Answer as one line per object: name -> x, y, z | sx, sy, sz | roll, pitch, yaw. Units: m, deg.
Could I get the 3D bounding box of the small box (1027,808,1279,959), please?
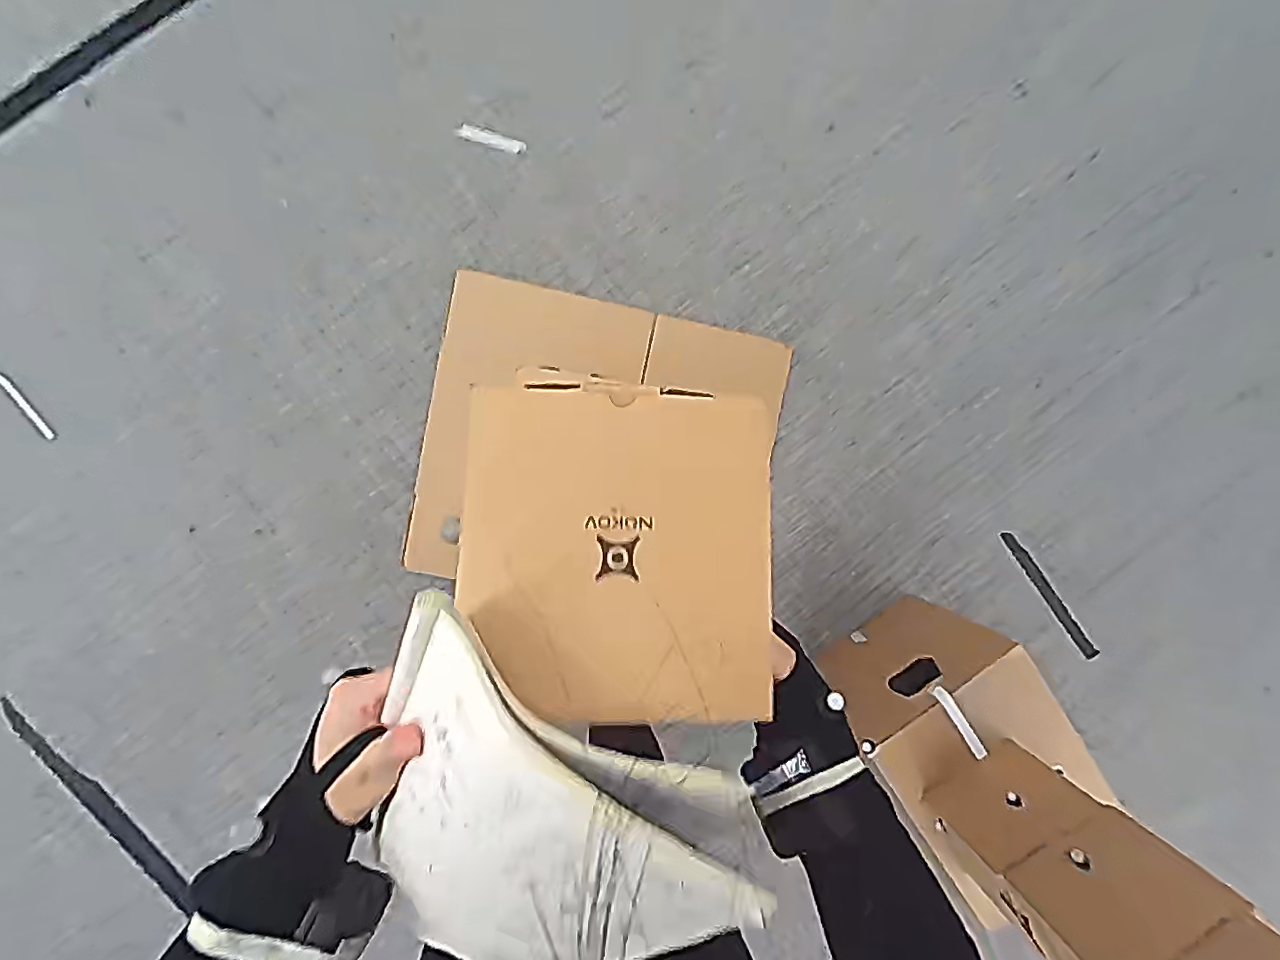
small box -> 0.608, 0.544, 0.637 | 0.179, 0.176, 0.168 | -35, 95, 0

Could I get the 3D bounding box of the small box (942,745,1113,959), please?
small box -> 0.588, 0.541, 0.800 | 0.179, 0.176, 0.168 | -32, 95, -2

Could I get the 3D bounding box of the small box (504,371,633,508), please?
small box -> -0.107, -0.061, 0.850 | 0.168, 0.176, 0.179 | 8, 92, -5
